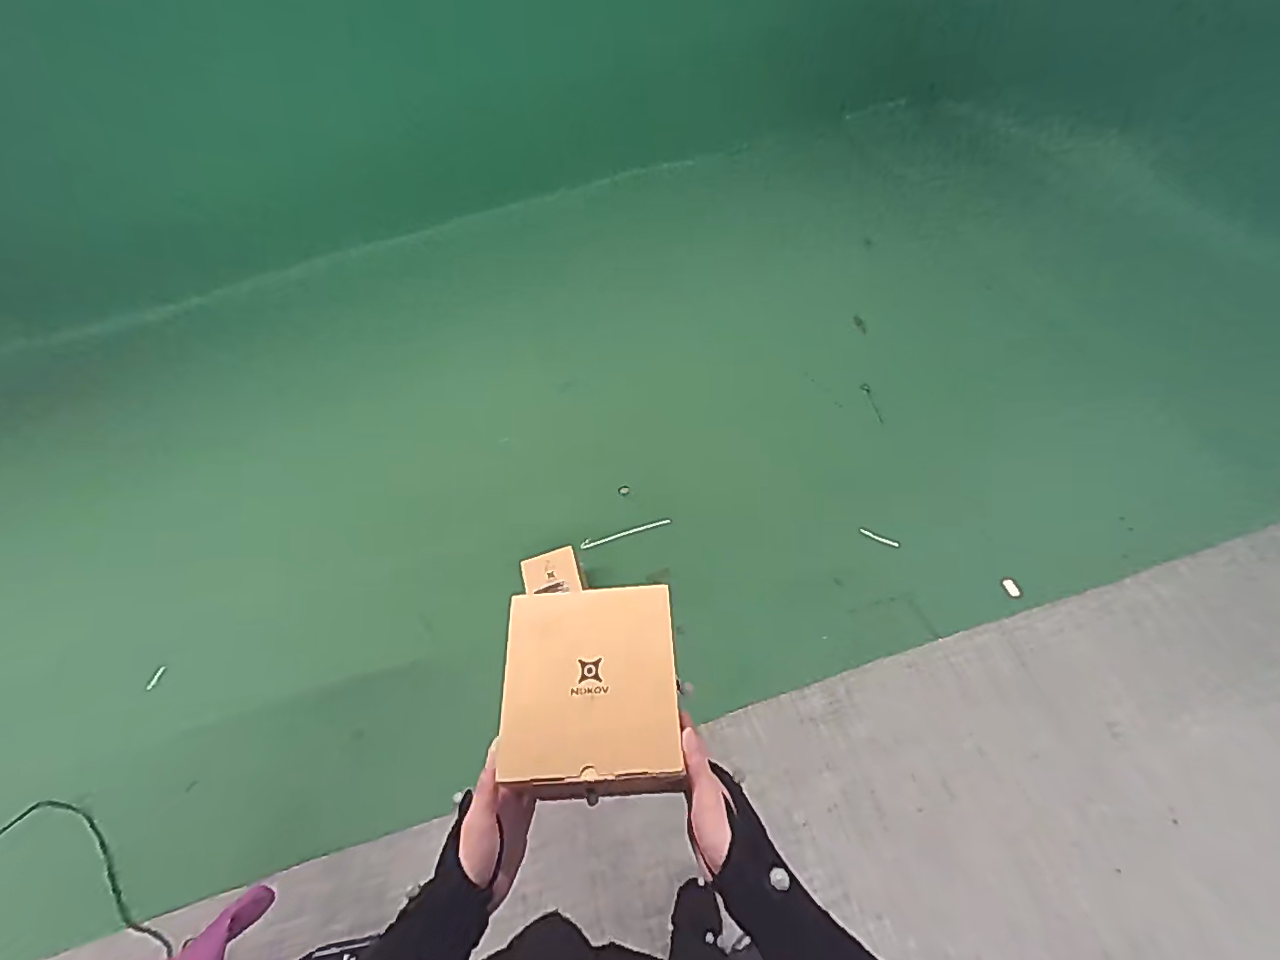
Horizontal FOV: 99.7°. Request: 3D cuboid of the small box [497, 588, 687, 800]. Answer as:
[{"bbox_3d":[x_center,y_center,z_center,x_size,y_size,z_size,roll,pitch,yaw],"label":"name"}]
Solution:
[{"bbox_3d":[-0.041,0.231,0.574,0.168,0.176,0.179,-4,57,1],"label":"small box"}]
